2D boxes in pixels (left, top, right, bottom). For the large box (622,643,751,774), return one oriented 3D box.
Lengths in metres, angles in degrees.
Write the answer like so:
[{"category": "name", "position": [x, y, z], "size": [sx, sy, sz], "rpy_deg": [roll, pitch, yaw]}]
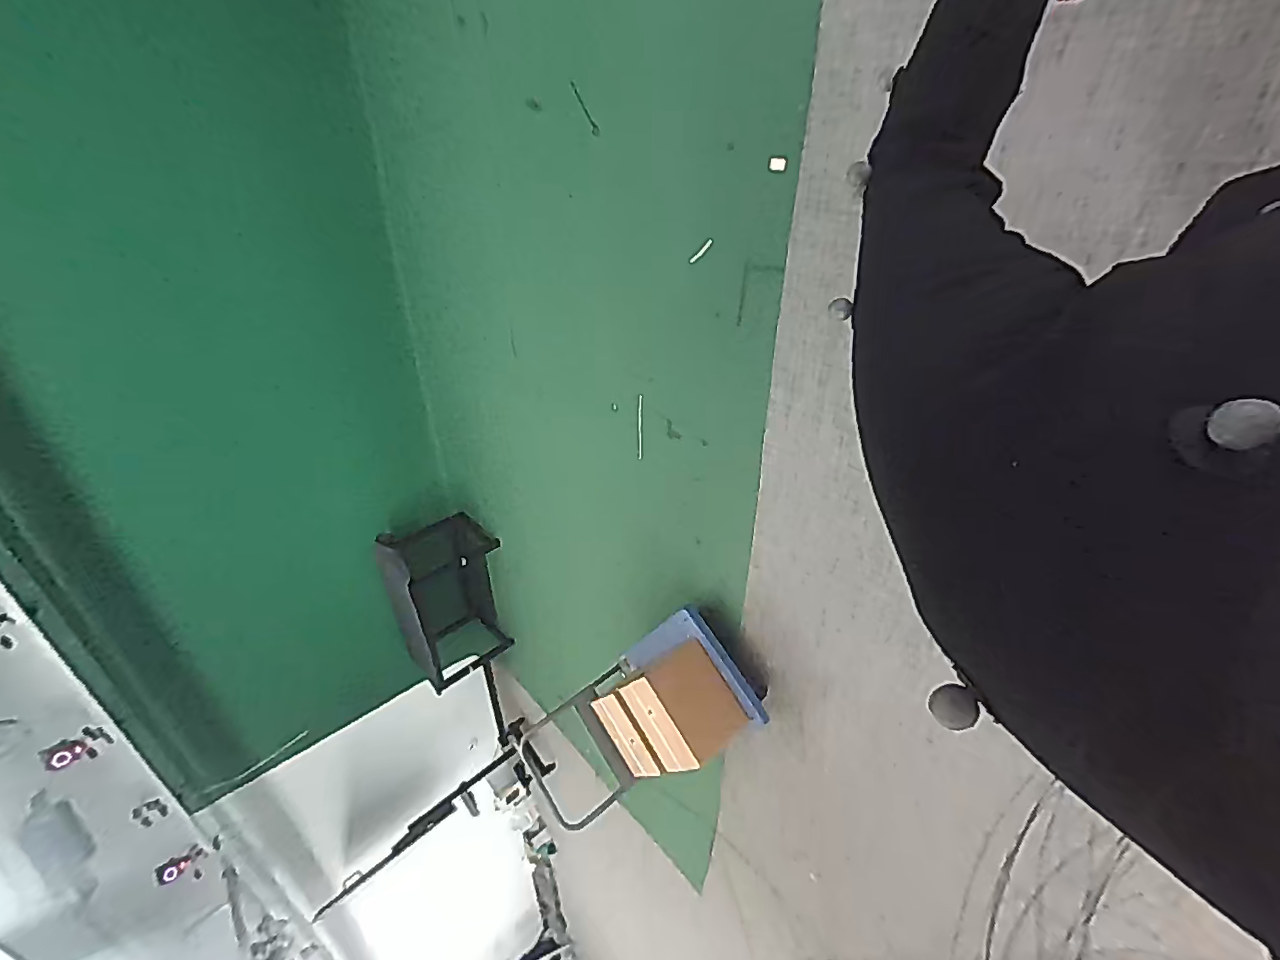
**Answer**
[{"category": "large box", "position": [0.192, 0.979, 2.320], "size": [0.408, 0.320, 0.320], "rpy_deg": [56, 145, 13]}]
